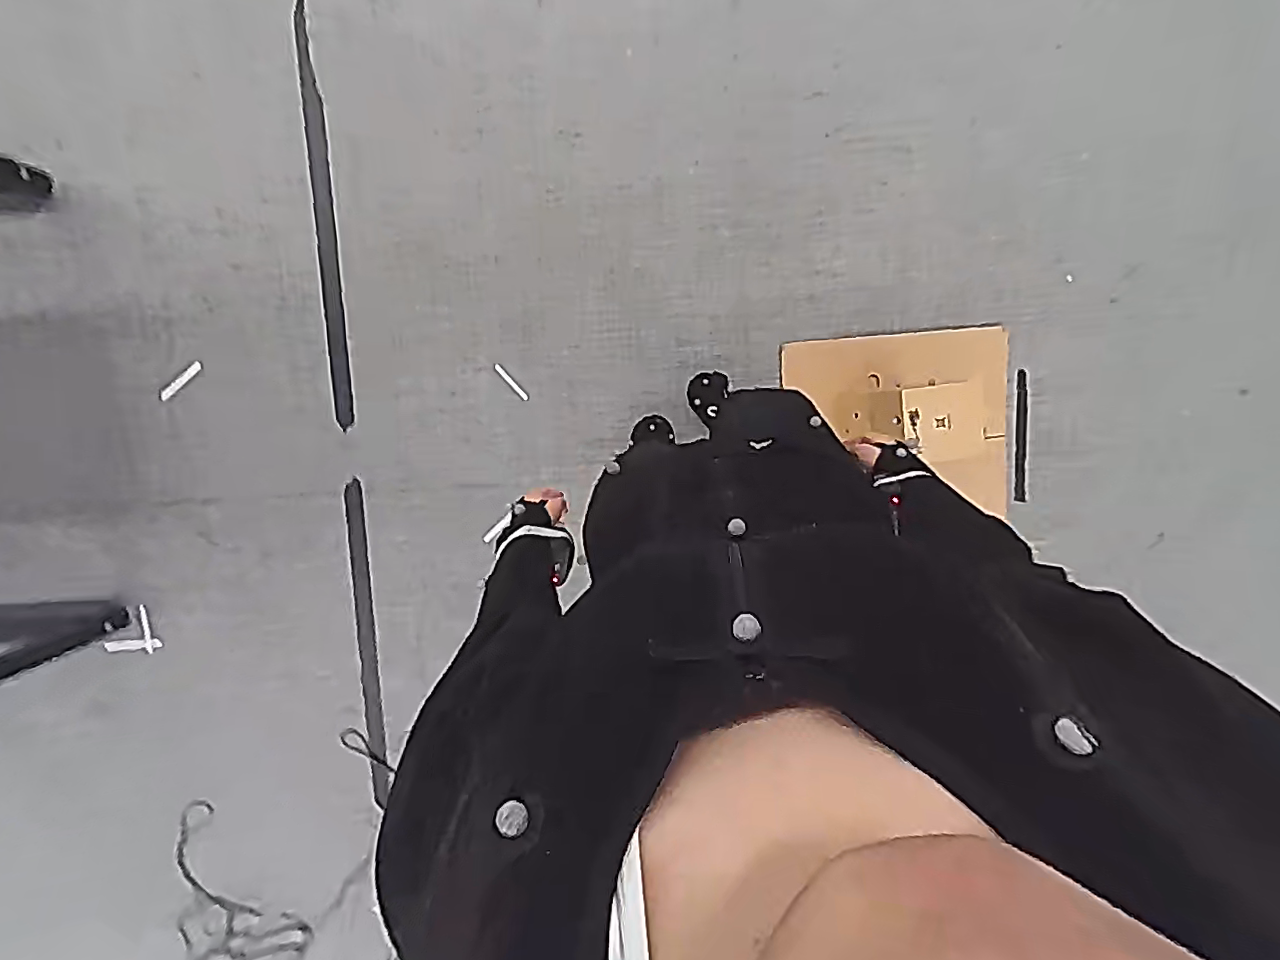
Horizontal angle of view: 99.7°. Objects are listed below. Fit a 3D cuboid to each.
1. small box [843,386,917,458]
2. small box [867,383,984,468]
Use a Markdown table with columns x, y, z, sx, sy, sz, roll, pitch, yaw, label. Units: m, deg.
| x | y | z | sx | sy | sz | roll | pitch | yaw | label |
| --- | --- | --- | --- | --- | --- | --- | --- | --- | --- |
| 0.633 | -0.149 | 1.385 | 0.179 | 0.176 | 0.168 | -6 | 98 | 0 | small box |
| 0.639 | -0.127 | 1.221 | 0.179 | 0.176 | 0.168 | -7 | 98 | -1 | small box |
